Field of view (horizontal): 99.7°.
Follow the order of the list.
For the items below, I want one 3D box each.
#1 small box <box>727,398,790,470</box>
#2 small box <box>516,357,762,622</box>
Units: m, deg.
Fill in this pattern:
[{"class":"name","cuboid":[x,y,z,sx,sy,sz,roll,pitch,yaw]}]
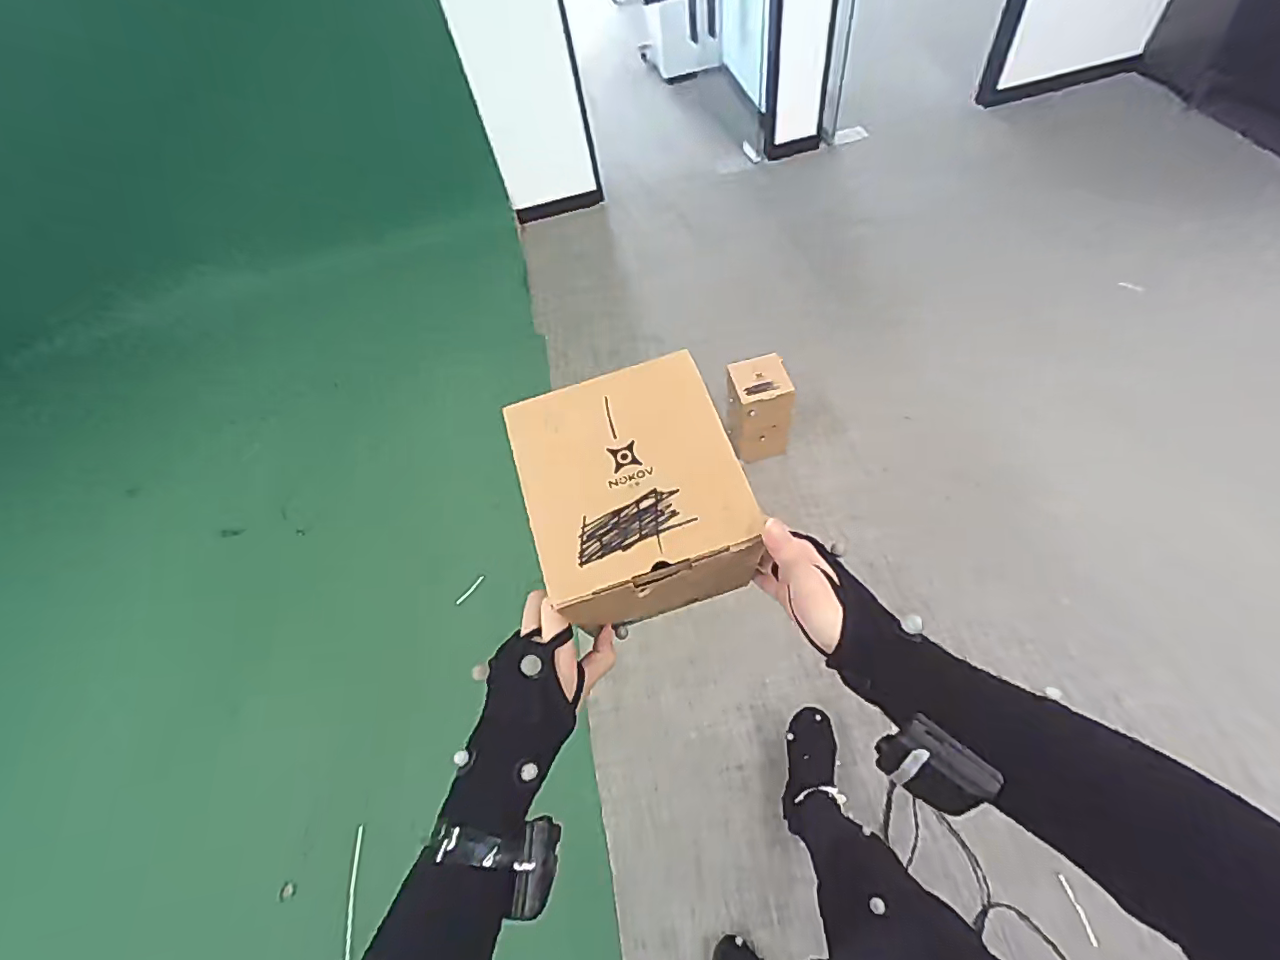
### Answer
[{"class":"small box","cuboid":[0.410,-0.154,1.888,0.179,0.176,0.168,-13,55,0]},{"class":"small box","cuboid":[0.001,0.023,0.505,0.168,0.176,0.179,-17,64,-2]}]
